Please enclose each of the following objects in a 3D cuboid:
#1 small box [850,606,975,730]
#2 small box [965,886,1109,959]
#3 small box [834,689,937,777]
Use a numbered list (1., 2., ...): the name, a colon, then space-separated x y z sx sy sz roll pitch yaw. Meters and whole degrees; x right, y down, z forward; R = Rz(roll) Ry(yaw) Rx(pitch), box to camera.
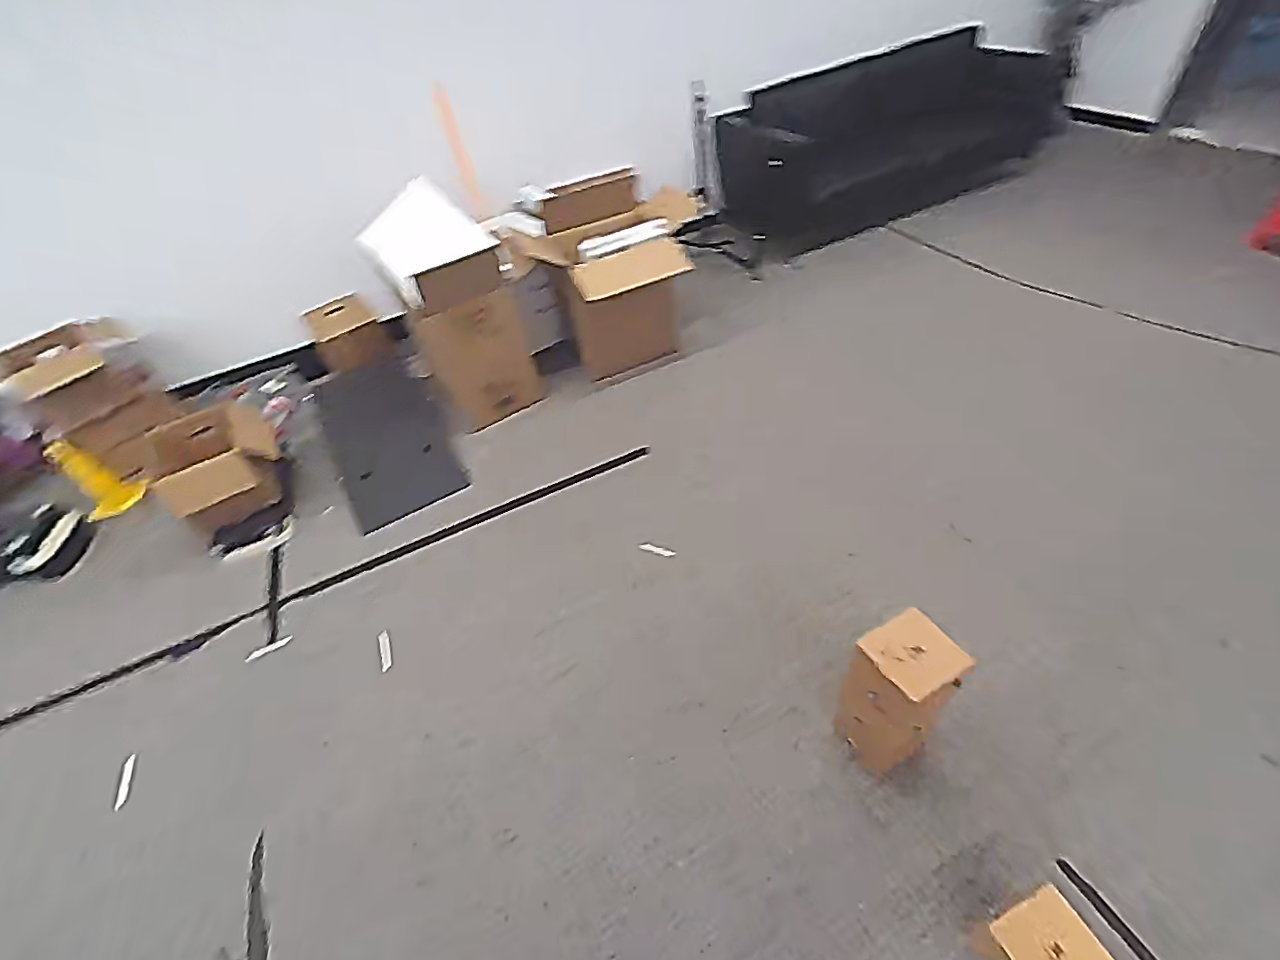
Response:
1. small box: 0.602 0.425 1.221 0.179 0.176 0.168 -25 45 -14
2. small box: 0.812 0.975 1.108 0.179 0.176 0.168 -22 47 -11
3. small box: 0.648 0.656 1.449 0.179 0.176 0.168 -24 46 -15
